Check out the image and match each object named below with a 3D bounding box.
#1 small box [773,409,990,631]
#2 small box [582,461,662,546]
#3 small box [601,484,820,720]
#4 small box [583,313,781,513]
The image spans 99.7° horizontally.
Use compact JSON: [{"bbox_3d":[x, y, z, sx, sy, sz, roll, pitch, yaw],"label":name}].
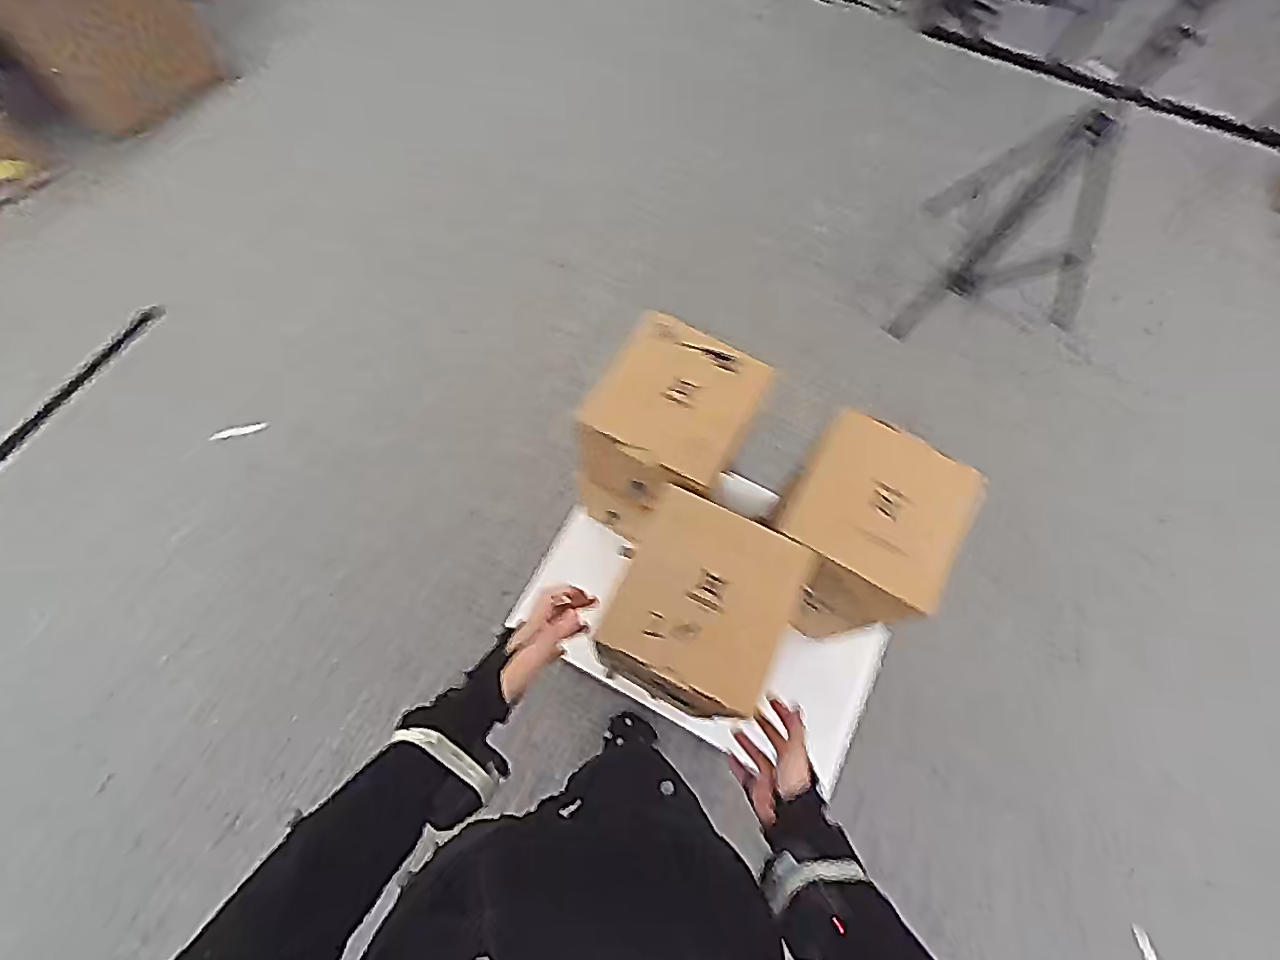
[{"bbox_3d":[0.258,0.056,0.635,0.168,0.176,0.179,30,71,10],"label":"small box"},{"bbox_3d":[0.031,0.001,0.826,0.168,0.176,0.179,31,70,9],"label":"small box"},{"bbox_3d":[0.067,0.138,0.592,0.168,0.176,0.179,26,69,8],"label":"small box"},{"bbox_3d":[0.048,-0.062,0.676,0.168,0.176,0.179,29,71,8],"label":"small box"}]
